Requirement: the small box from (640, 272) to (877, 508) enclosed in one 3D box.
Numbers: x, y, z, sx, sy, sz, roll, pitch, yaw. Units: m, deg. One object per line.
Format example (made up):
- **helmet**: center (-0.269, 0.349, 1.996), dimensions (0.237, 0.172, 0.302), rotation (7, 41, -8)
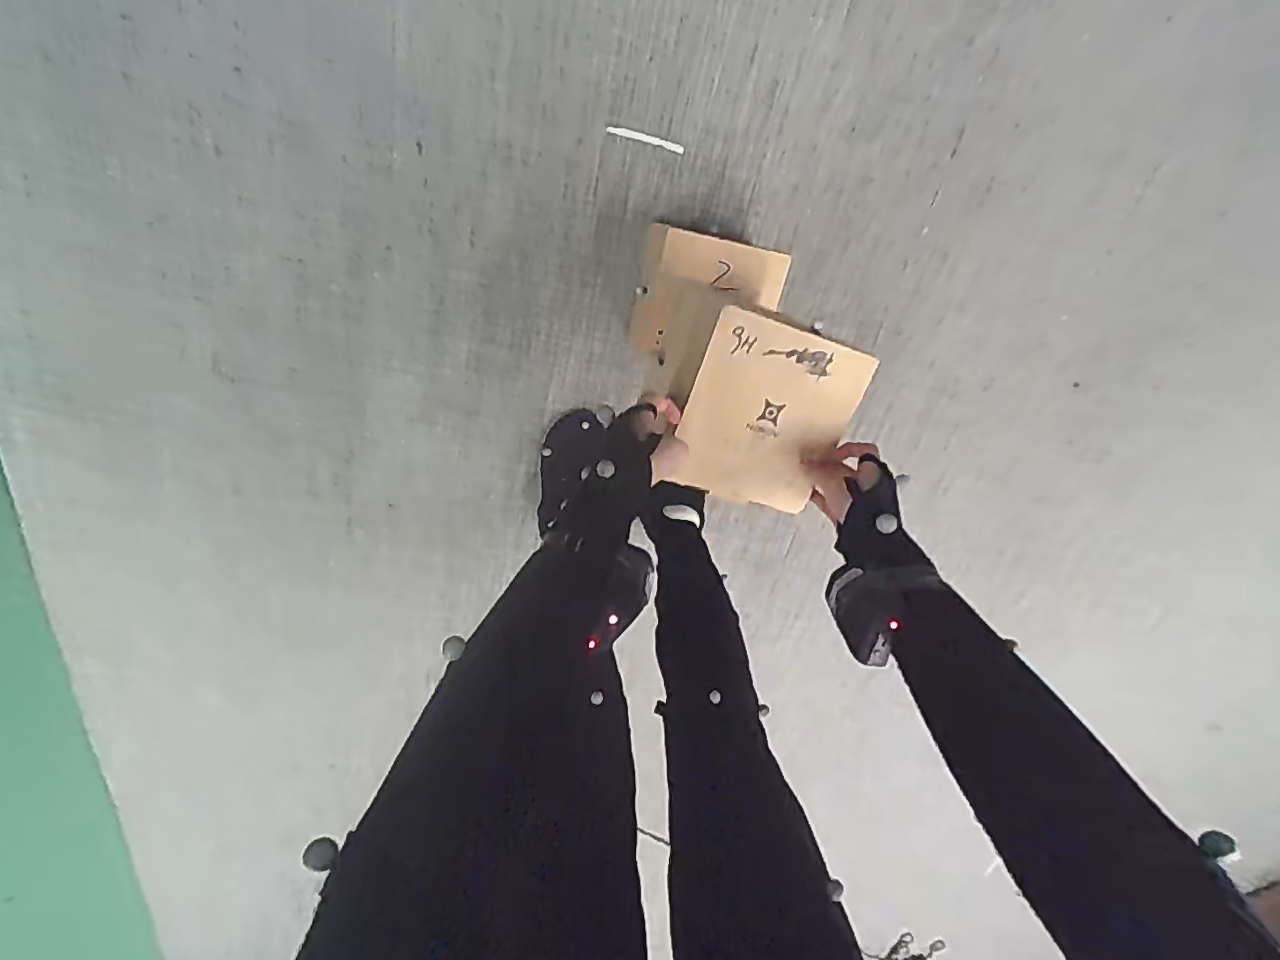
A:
- **small box**: center (0.106, -0.100, 0.578), dimensions (0.168, 0.176, 0.179), rotation (15, 115, -16)
